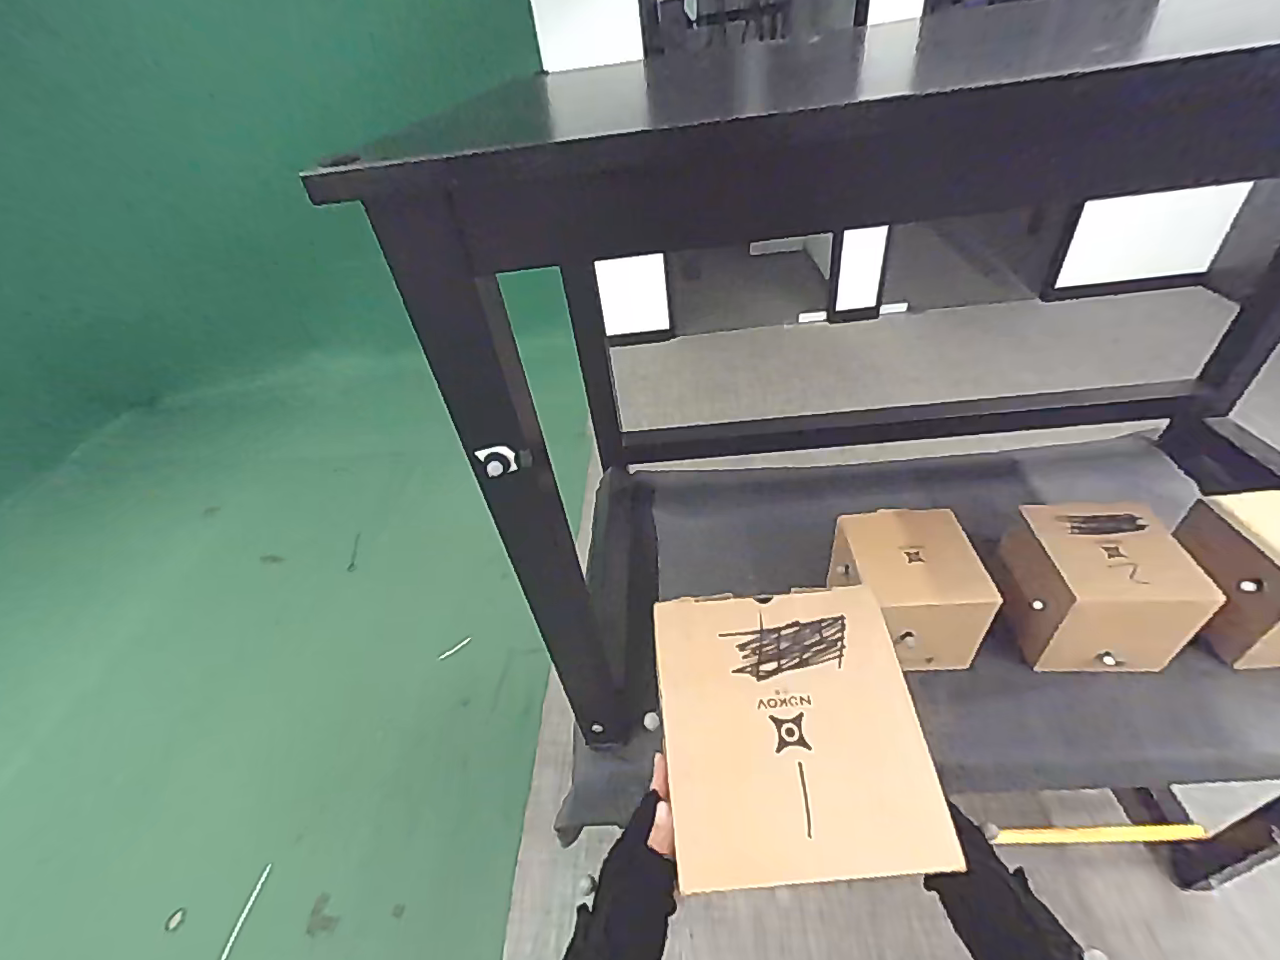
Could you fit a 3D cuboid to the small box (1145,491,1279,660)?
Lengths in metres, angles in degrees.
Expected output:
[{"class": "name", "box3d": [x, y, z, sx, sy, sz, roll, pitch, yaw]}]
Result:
[{"class": "small box", "box3d": [0.880, 0.136, 0.753, 0.168, 0.176, 0.179, -4, 39, 5]}]

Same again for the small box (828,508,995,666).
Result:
[{"class": "small box", "box3d": [0.392, 0.166, 0.817, 0.168, 0.176, 0.179, -4, 40, 6]}]
